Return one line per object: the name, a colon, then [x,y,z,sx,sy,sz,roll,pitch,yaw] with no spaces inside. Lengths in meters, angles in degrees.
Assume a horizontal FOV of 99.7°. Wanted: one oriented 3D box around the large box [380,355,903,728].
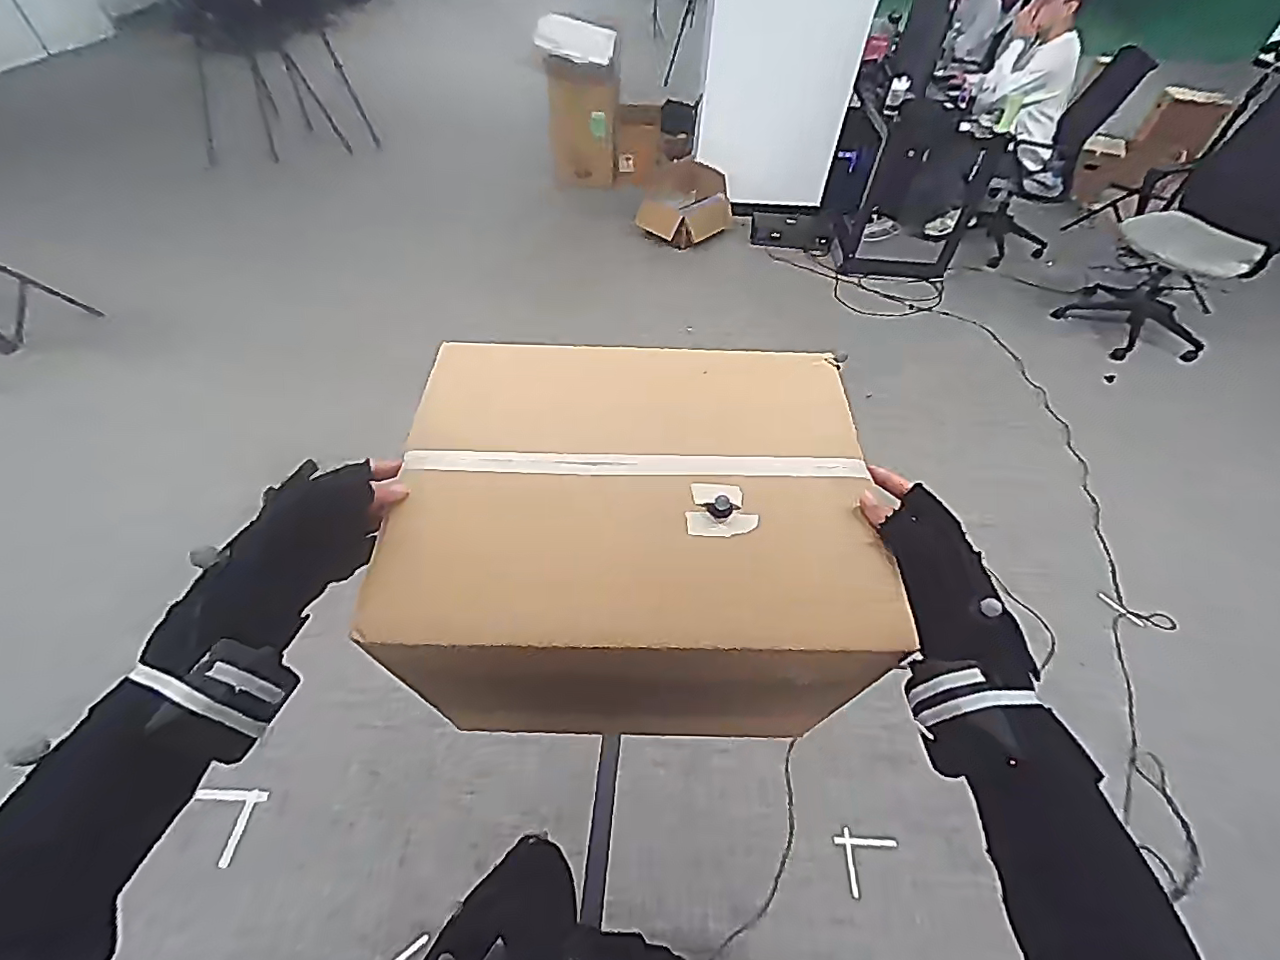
large box: [-0.004,0.081,0.609,0.408,0.320,0.320,2,55,-2]
